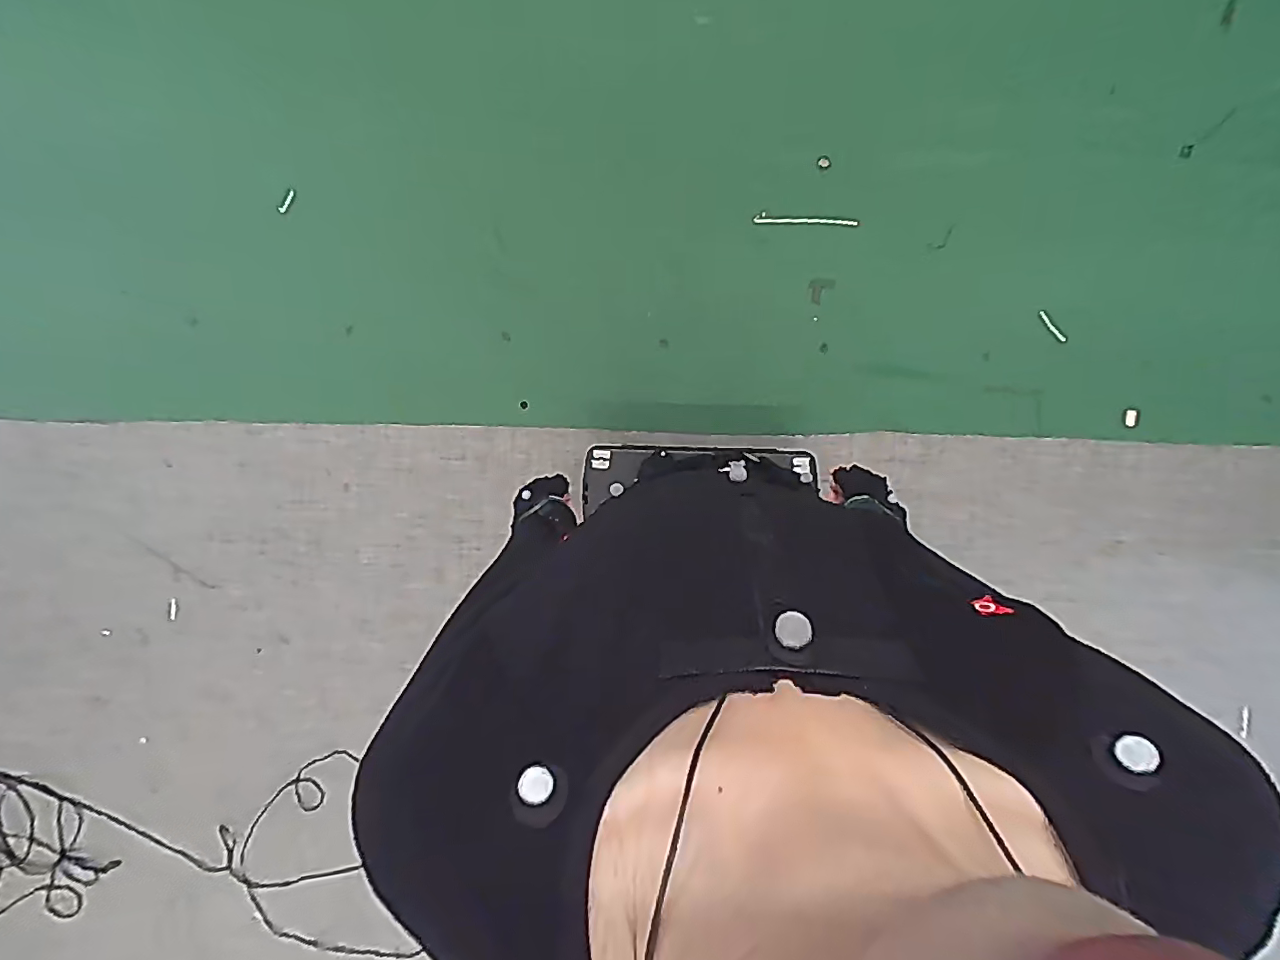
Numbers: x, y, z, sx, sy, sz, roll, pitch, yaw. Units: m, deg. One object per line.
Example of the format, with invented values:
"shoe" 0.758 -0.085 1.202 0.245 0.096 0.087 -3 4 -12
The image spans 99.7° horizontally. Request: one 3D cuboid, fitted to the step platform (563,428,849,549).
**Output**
"step platform" 0.158 0.016 1.387 0.684 0.204 0.286 1 94 2
